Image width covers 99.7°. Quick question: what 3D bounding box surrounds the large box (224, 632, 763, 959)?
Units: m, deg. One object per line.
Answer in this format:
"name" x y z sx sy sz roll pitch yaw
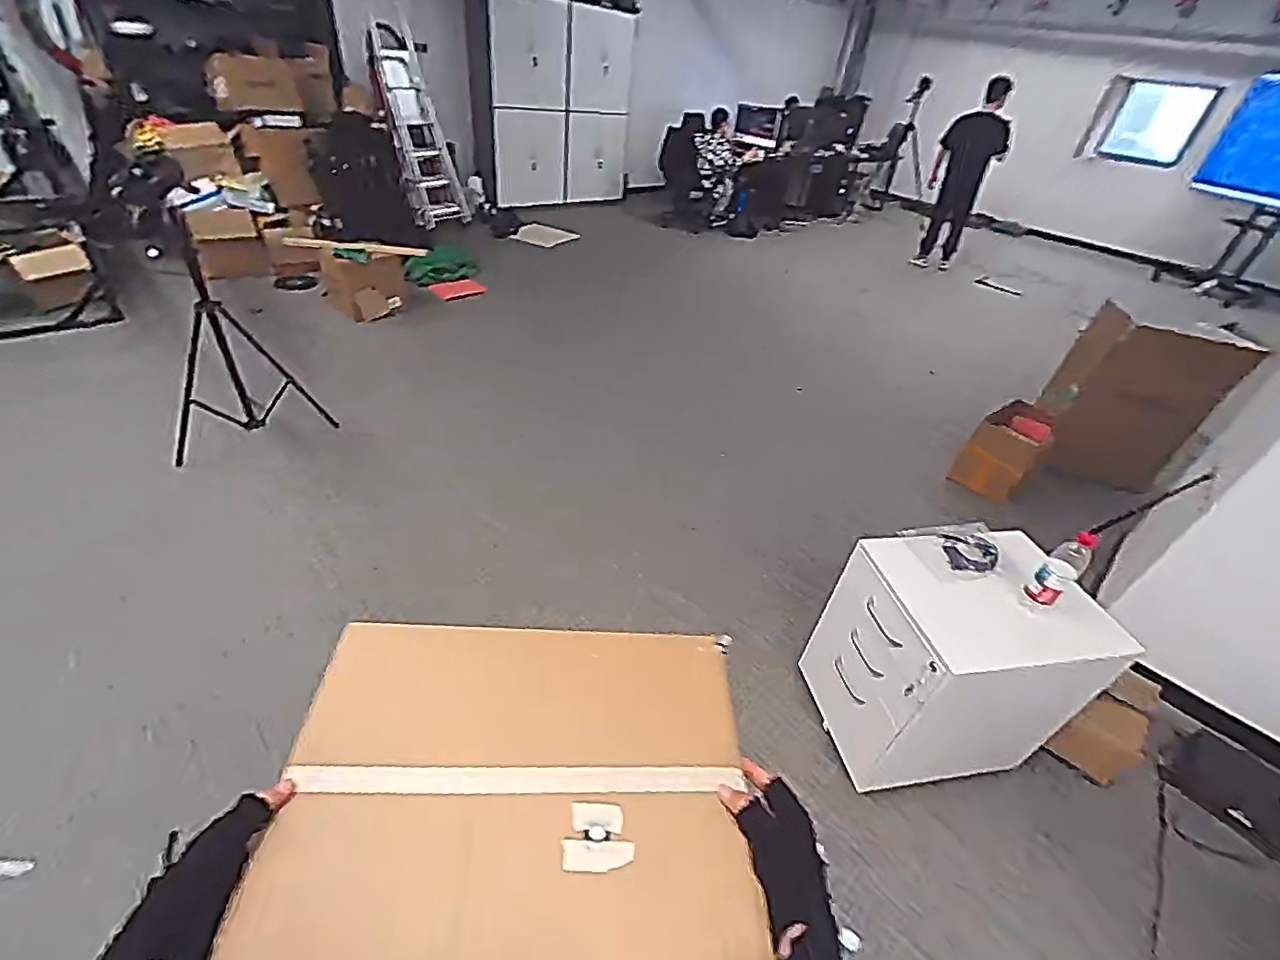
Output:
"large box" -0.130 0.387 0.593 0.408 0.320 0.320 4 42 -8
